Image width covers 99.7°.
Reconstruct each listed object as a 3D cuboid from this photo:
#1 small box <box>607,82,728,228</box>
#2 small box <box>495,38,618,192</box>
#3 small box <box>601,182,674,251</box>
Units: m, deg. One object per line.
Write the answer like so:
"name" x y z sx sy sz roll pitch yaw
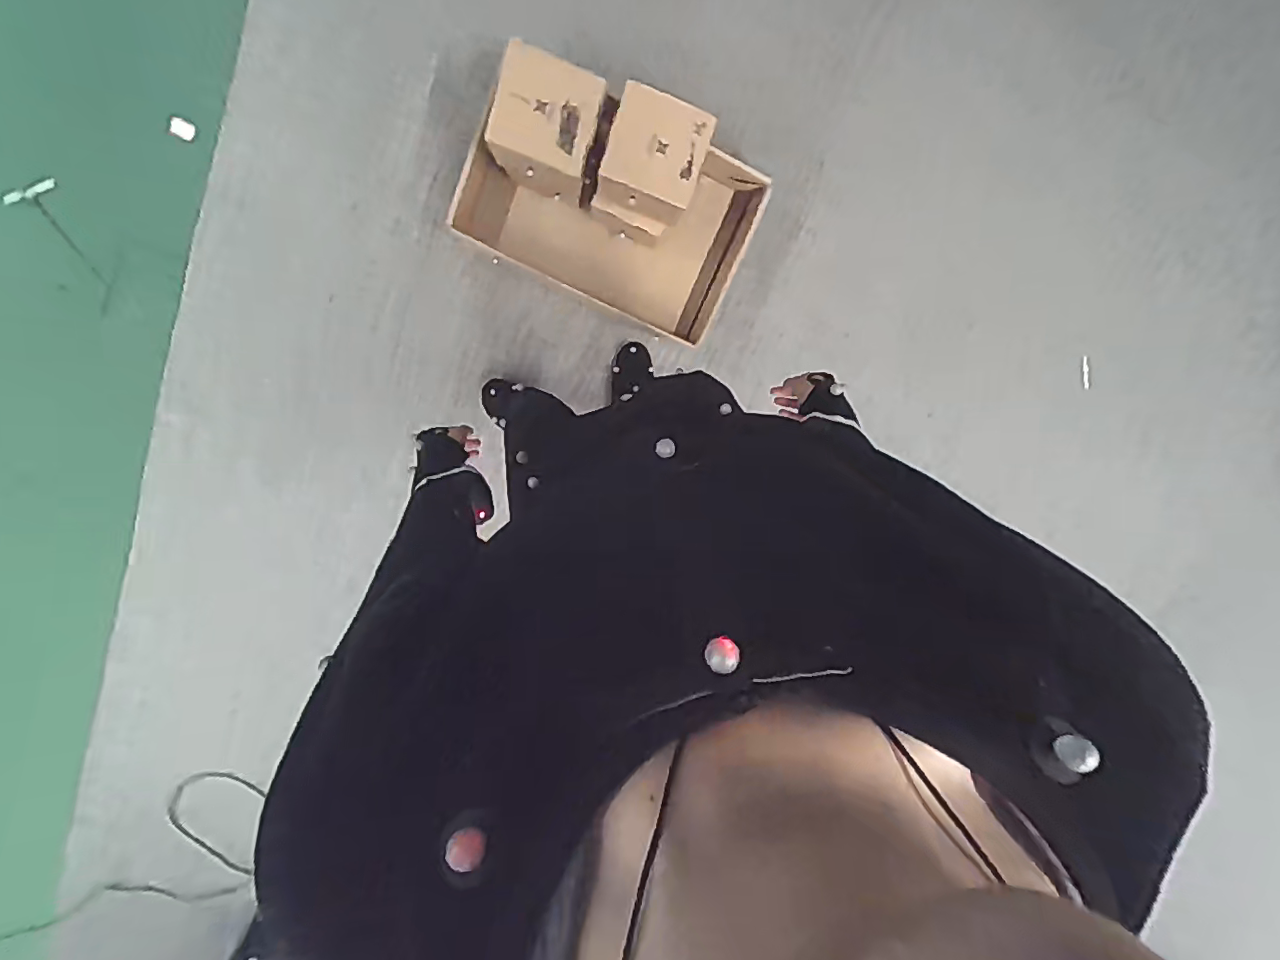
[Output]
"small box" 0.046 -0.615 1.051 0.179 0.176 0.168 20 102 -7
"small box" -0.152 -0.670 1.022 0.179 0.176 0.168 20 103 -9
"small box" 0.021 -0.643 1.212 0.168 0.176 0.179 25 102 -8
